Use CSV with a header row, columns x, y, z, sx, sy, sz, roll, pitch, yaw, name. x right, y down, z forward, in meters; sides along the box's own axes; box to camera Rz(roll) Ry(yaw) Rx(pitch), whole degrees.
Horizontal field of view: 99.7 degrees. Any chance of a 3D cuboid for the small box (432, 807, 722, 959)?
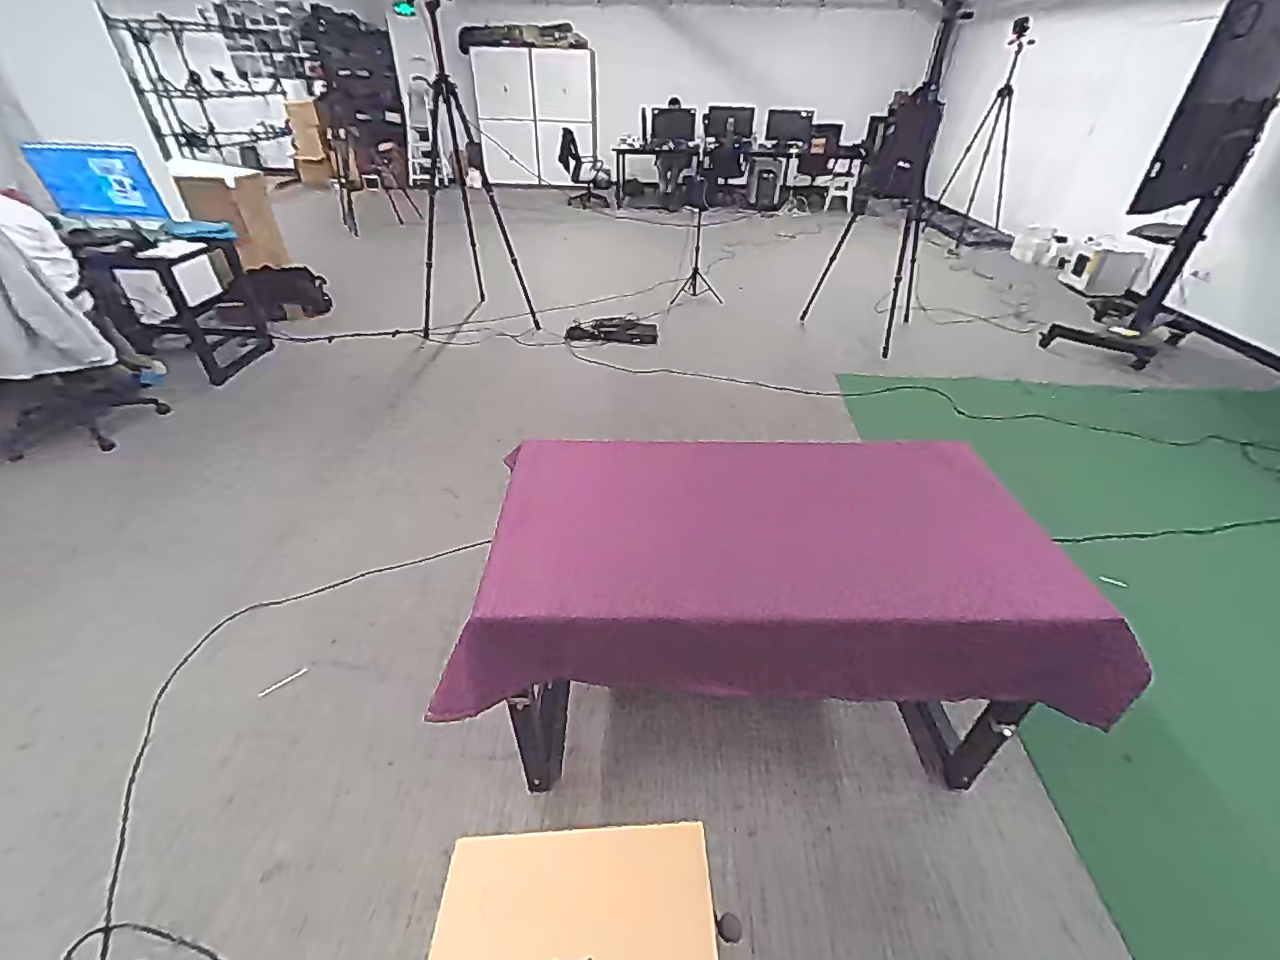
x,y,z,sx,sy,sz,roll,pitch,yaw,name
-0.030,0.339,0.336,0.168,0.176,0.179,-6,34,2,small box
